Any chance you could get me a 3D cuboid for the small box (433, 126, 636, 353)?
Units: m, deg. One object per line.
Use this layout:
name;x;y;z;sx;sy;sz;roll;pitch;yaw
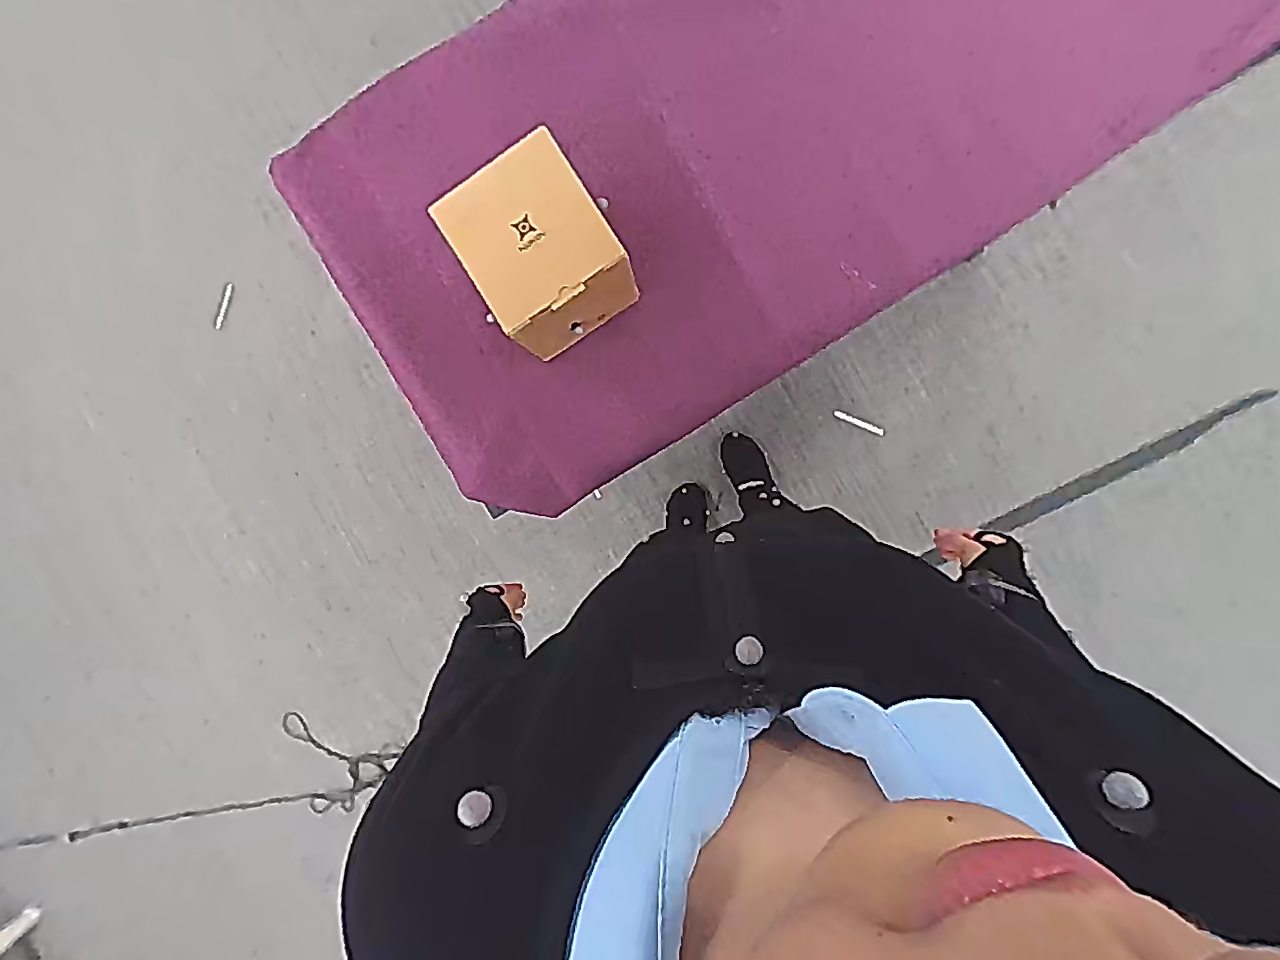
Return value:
small box;-0.120;-0.286;0.689;0.168;0.176;0.179;-33;90;5
